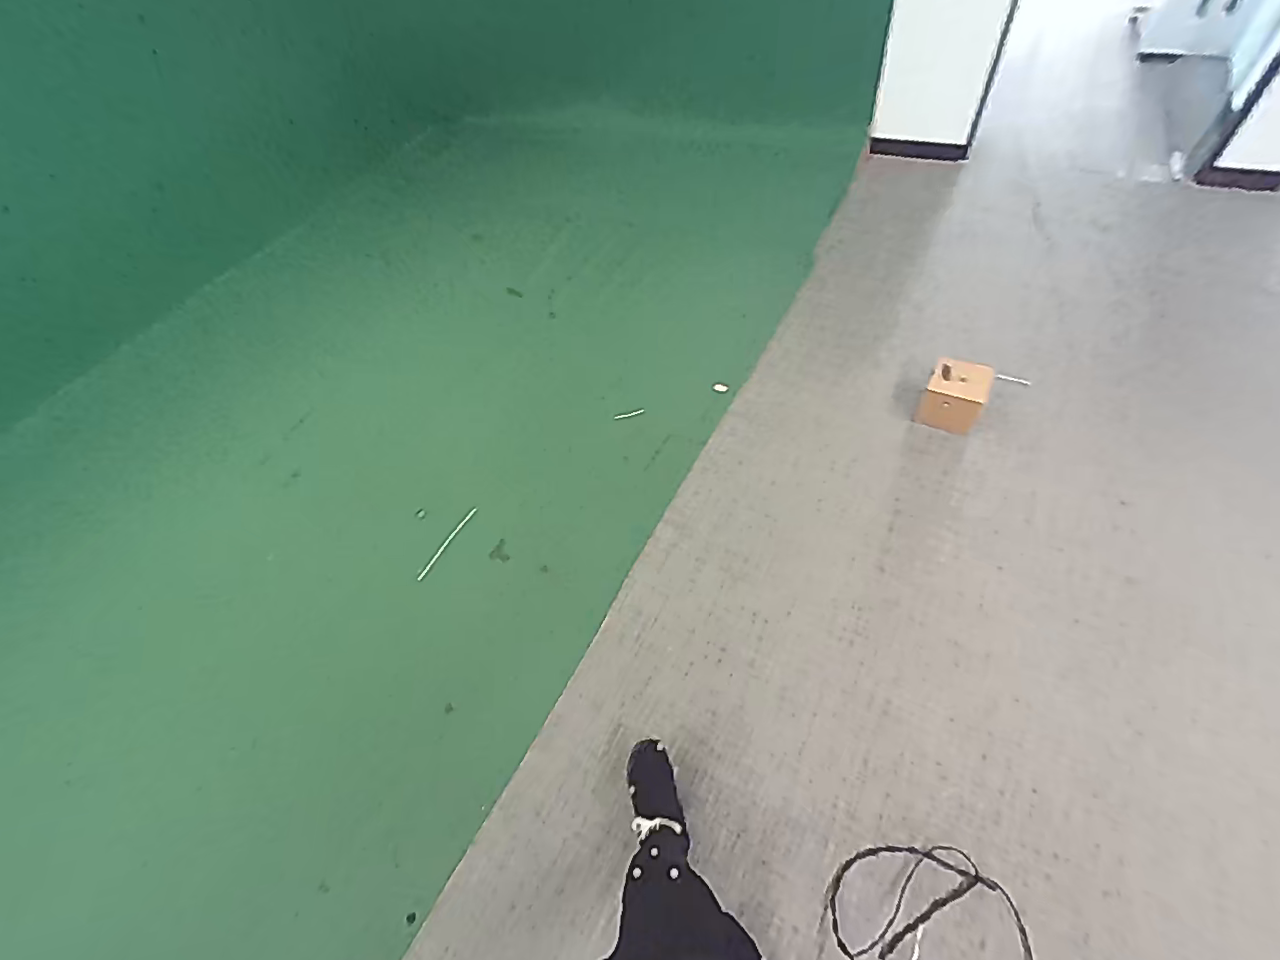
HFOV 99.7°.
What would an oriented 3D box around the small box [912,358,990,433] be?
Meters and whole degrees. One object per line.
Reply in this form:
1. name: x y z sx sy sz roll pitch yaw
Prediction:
1. small box: 1.060 -0.287 1.856 0.179 0.176 0.168 21 62 21
